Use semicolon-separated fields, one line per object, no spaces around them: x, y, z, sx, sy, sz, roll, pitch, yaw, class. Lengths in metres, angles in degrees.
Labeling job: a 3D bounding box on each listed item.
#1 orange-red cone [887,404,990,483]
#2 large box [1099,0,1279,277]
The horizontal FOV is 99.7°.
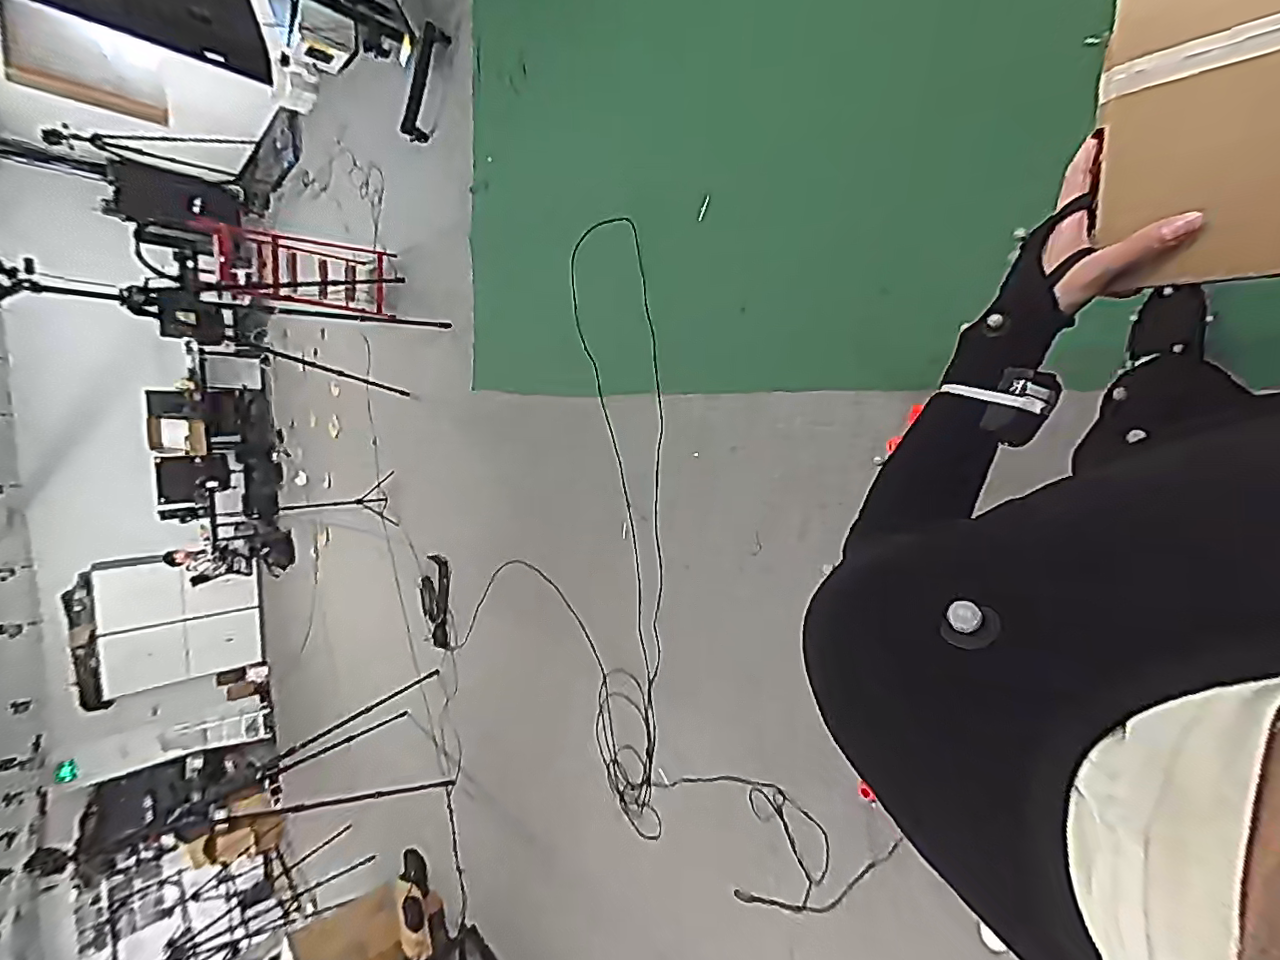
0.713;-0.095;1.374;0.199;0.360;0.198;19;106;44;orange-red cone
0.615;-0.340;0.375;0.408;0.320;0.320;11;116;47;large box
